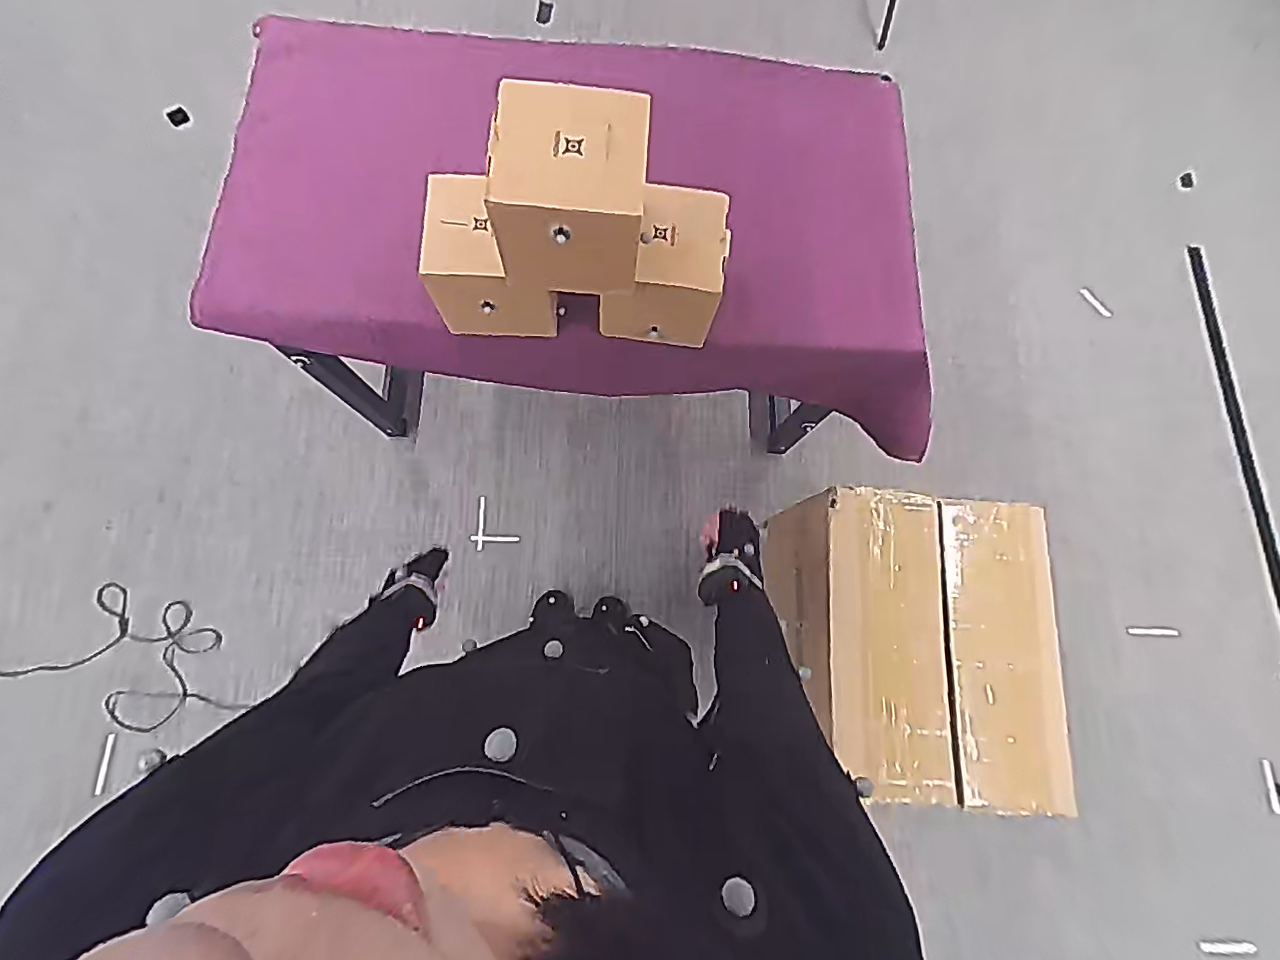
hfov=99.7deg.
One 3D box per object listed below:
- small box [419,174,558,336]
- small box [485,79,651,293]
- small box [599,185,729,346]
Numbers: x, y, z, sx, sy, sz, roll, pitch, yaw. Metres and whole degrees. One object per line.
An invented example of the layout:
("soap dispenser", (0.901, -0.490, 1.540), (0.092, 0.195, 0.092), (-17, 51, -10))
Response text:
("small box", (-0.218, -0.336, 0.835), (0.179, 0.176, 0.168), (1, 75, -3))
("small box", (-0.083, -0.356, 0.682), (0.179, 0.176, 0.168), (4, 77, -4))
("small box", (0.032, -0.329, 0.853), (0.179, 0.176, 0.168), (7, 76, -2))
